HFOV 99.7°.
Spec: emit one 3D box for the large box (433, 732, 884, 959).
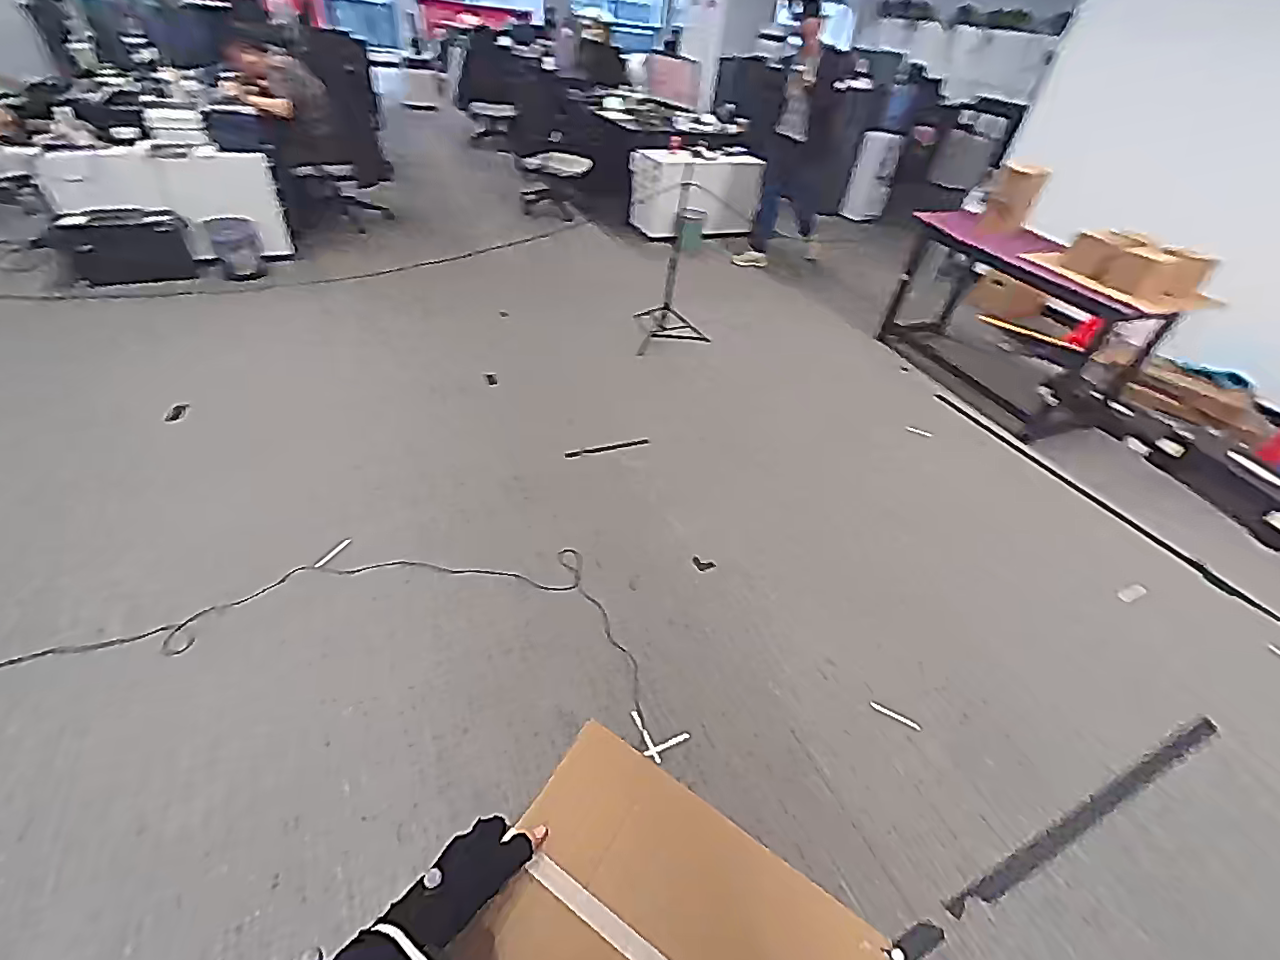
[{"bbox_3d":[-0.002,0.597,0.653,0.408,0.320,0.320,31,50,16],"label":"large box"}]
